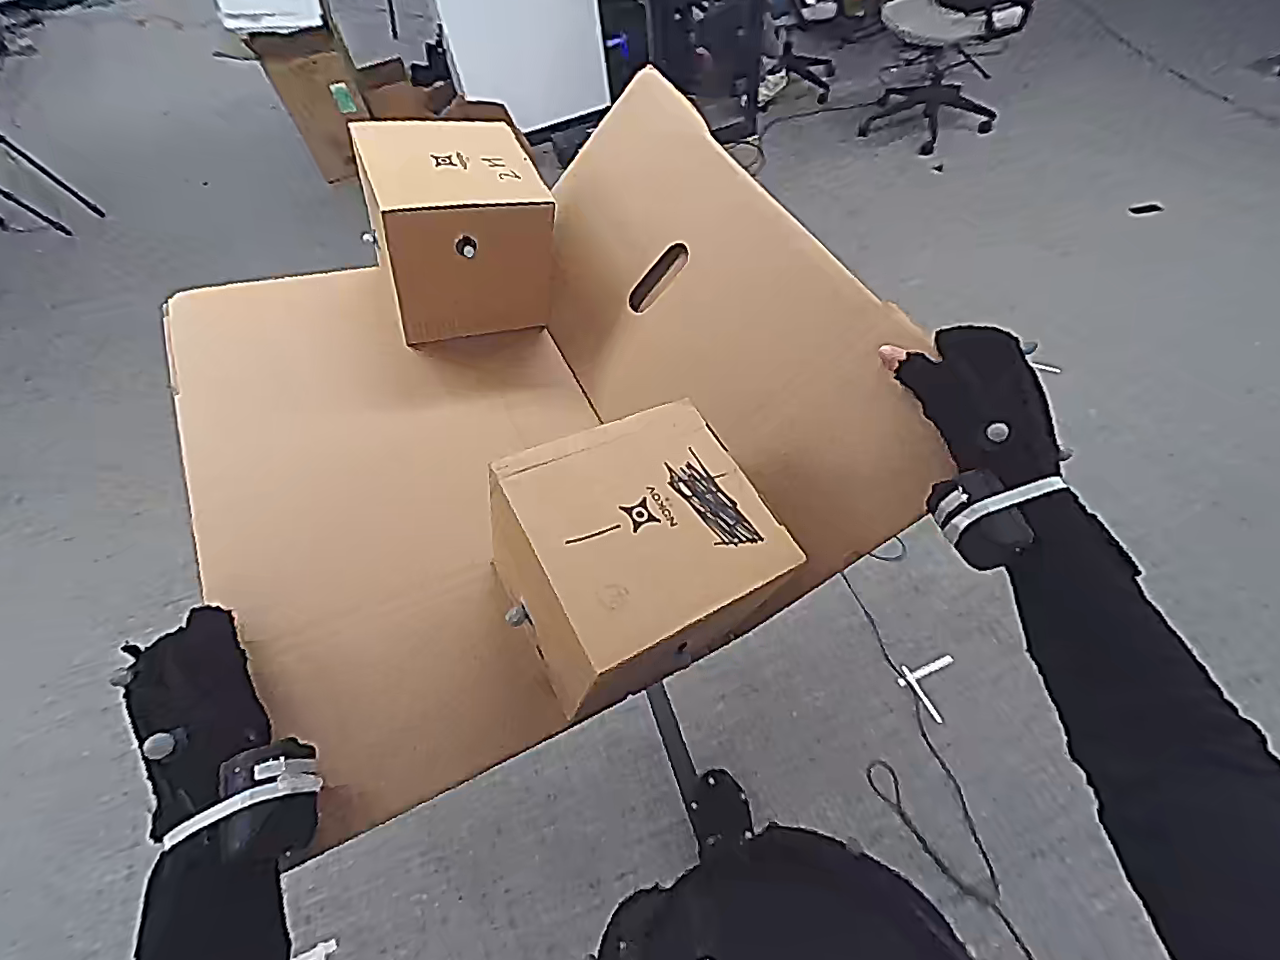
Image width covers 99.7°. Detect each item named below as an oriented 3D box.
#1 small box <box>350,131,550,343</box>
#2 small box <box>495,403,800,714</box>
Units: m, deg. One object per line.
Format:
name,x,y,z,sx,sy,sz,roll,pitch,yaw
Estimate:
small box,-0.217,-0.282,0.639,0.179,0.176,0.168,-15,61,-23
small box,-0.010,0.068,0.453,0.179,0.176,0.168,-22,65,-24
